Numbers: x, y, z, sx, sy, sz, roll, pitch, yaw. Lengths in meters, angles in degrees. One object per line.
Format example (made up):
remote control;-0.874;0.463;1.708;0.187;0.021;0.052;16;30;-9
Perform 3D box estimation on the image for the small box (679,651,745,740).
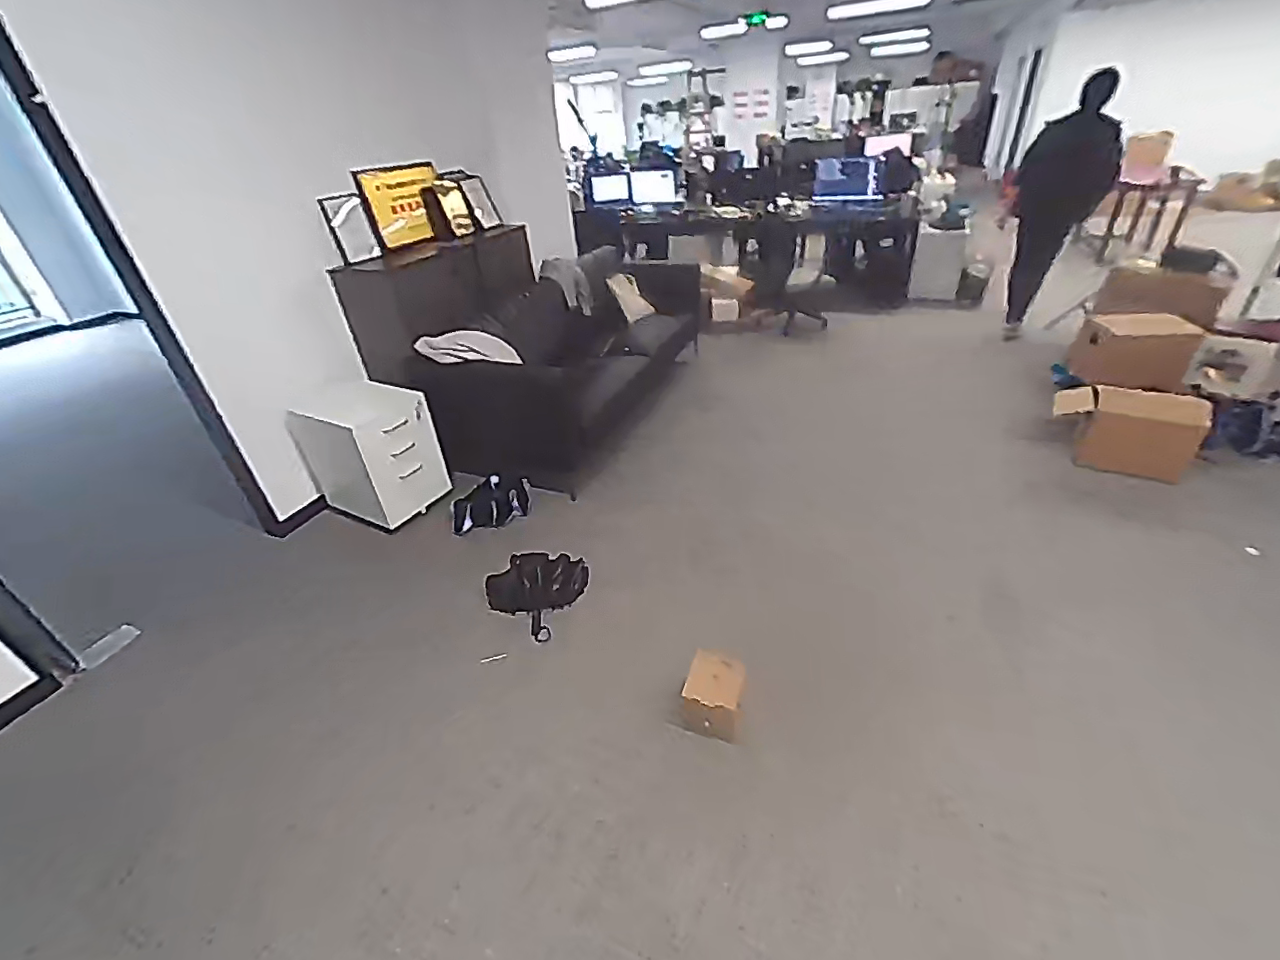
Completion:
small box;0.228;0.670;1.679;0.168;0.176;0.179;9;36;20
